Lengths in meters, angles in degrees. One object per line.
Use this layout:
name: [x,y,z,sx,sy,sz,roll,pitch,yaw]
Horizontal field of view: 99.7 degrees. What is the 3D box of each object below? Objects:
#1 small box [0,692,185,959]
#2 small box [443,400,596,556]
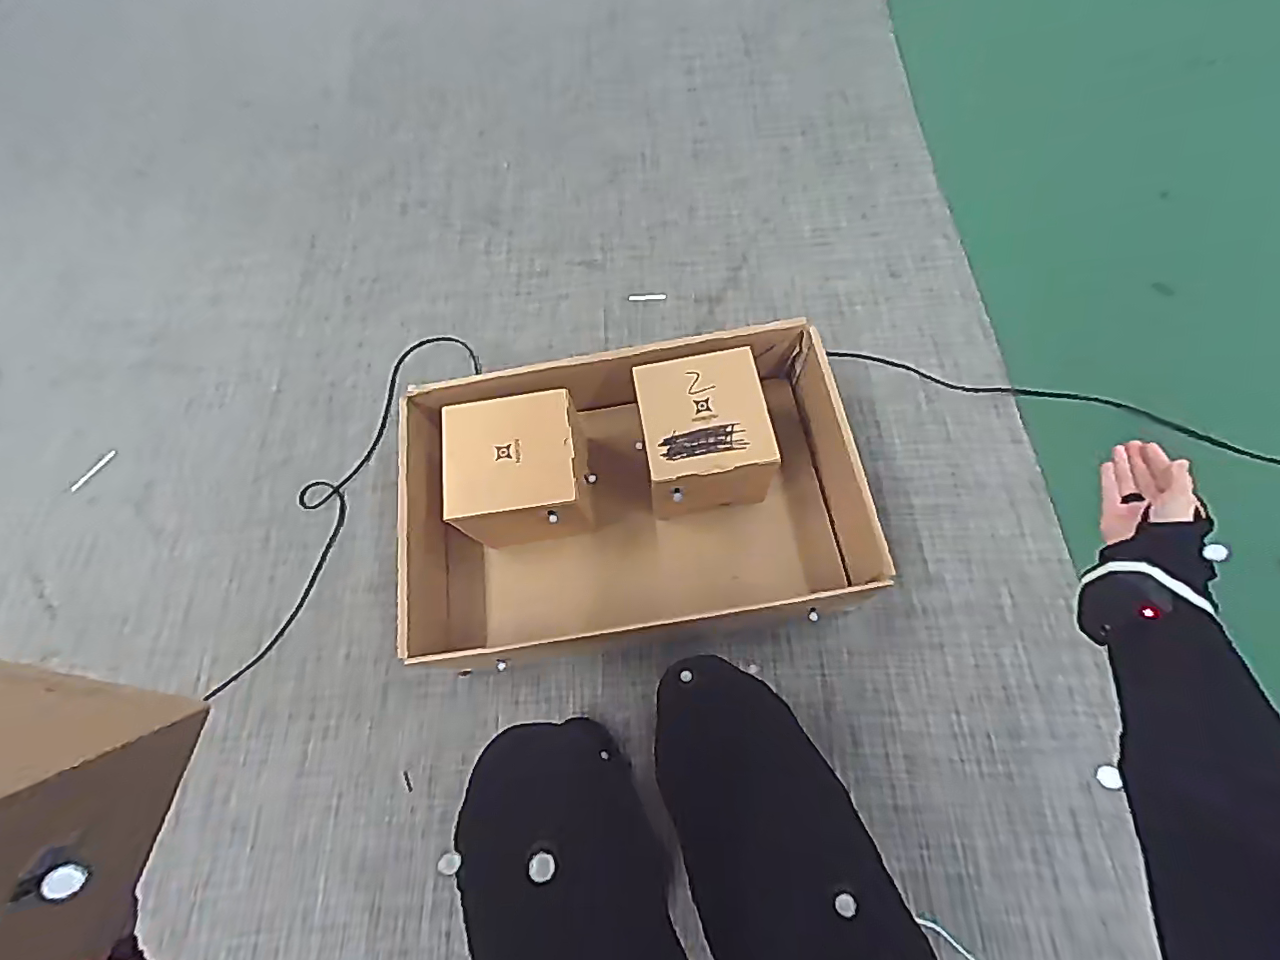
small box: [-0.324,0.182,0.196,0.168,0.176,0.179,17,78,-8]
small box: [-0.170,0.005,0.791,0.179,0.176,0.168,-9,69,1]
